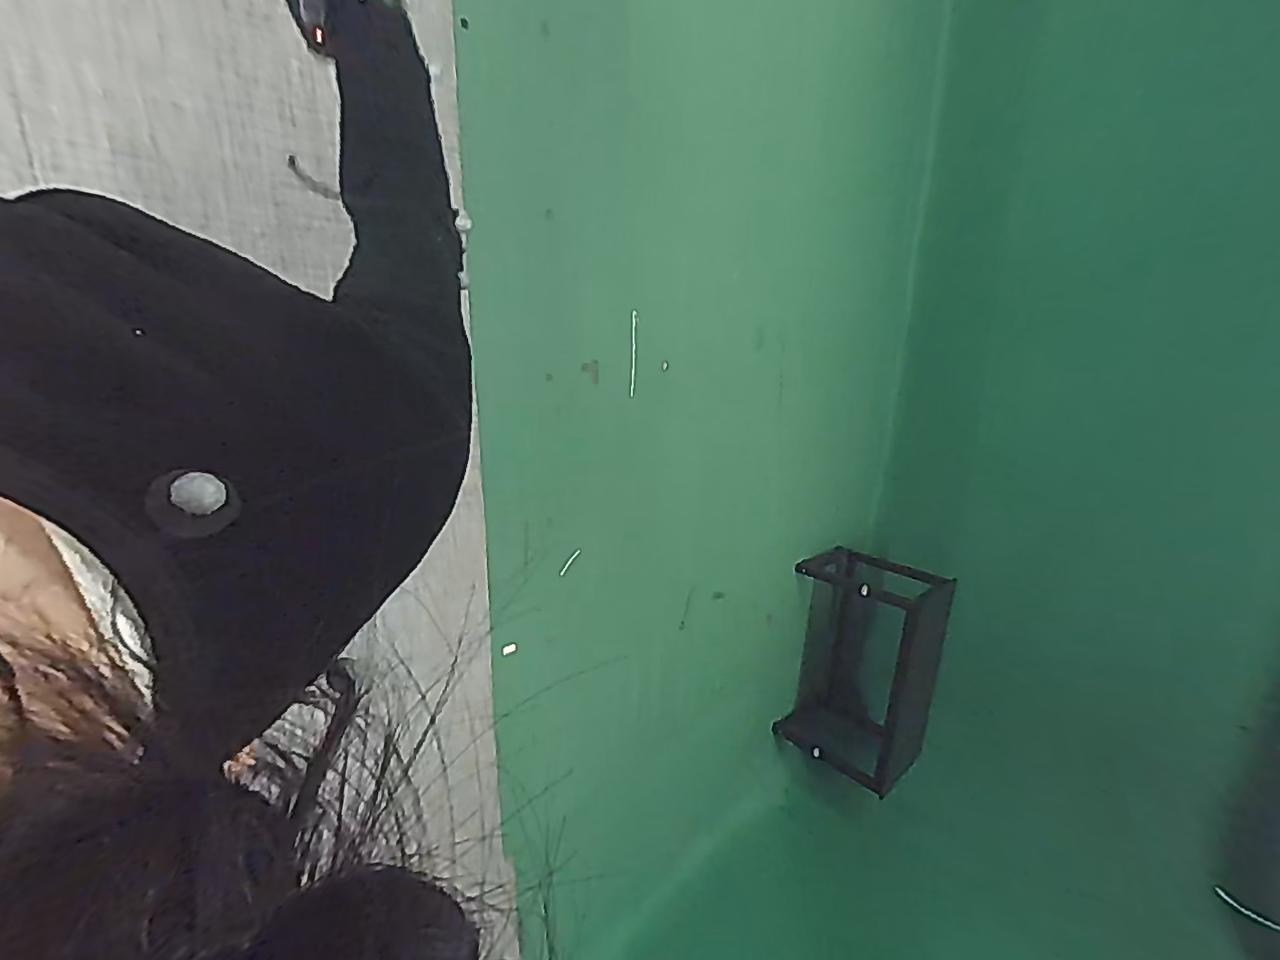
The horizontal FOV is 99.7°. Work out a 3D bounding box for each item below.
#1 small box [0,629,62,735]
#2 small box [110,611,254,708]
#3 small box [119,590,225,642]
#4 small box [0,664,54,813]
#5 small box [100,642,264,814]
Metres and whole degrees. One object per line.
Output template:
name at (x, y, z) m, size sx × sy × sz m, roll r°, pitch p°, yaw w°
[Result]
small box at (-1.197, 0.398, 0.978) m, size 0.179 × 0.176 × 0.168 m, roll -17°, pitch 112°, yaw -41°
small box at (-0.878, 0.376, 1.041) m, size 0.179 × 0.176 × 0.168 m, roll -16°, pitch 111°, yaw -39°
small box at (-0.986, 0.355, 1.162) m, size 0.168 × 0.176 × 0.179 m, roll -17°, pitch 113°, yaw -38°
small box at (-1.084, 0.432, 0.865) m, size 0.168 × 0.176 × 0.179 m, roll -18°, pitch 114°, yaw -41°
small box at (-0.773, 0.404, 0.919) m, size 0.179 × 0.176 × 0.168 m, roll -16°, pitch 110°, yaw -38°
